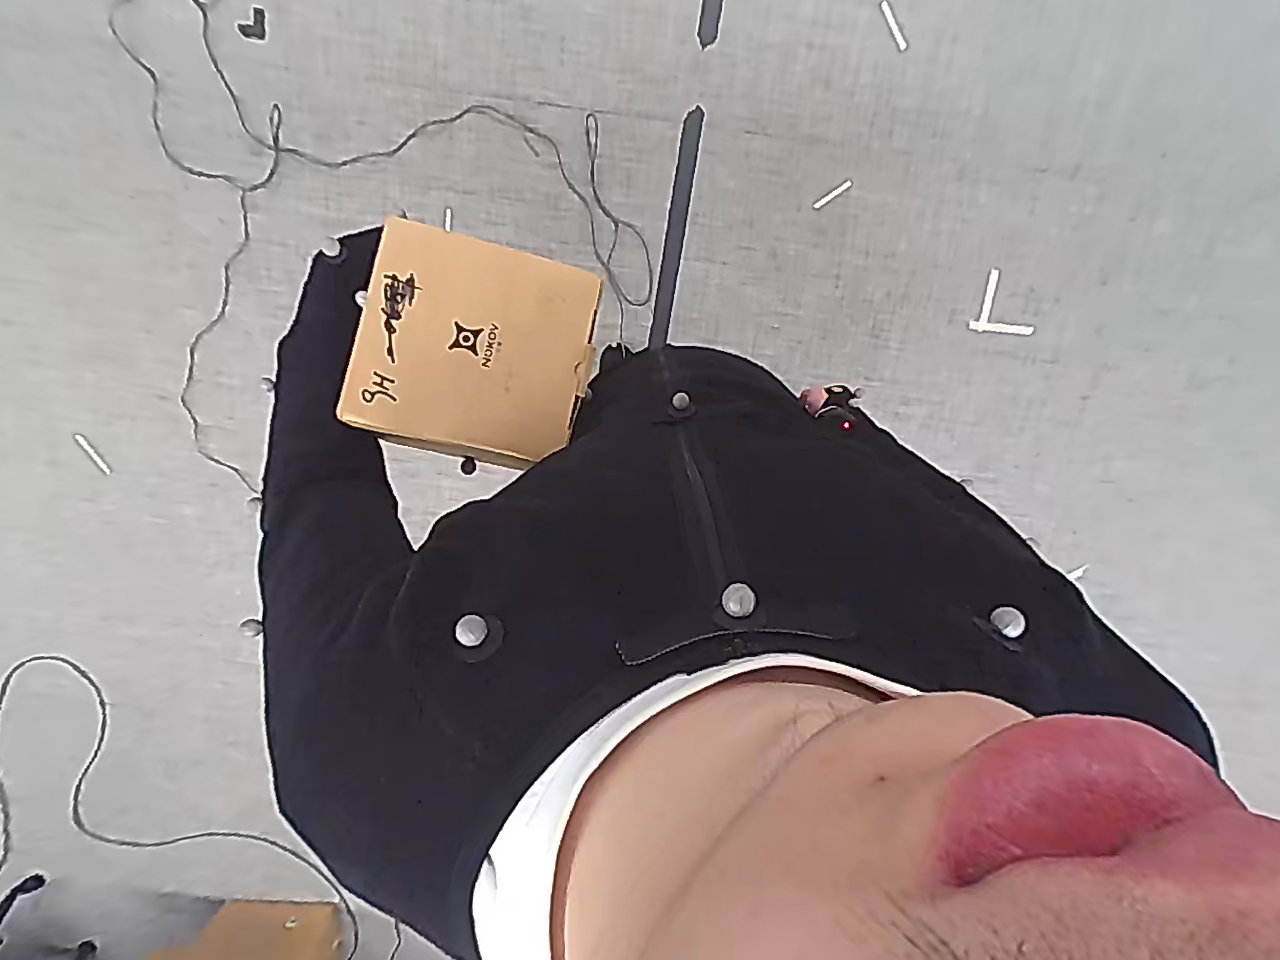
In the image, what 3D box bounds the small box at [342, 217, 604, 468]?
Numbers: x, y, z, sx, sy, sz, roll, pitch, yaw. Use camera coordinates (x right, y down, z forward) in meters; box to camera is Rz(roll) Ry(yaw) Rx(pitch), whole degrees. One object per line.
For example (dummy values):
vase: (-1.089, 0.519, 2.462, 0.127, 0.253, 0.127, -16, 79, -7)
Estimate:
small box: (-0.147, -0.108, 0.514, 0.179, 0.176, 0.168, 13, 85, -12)
